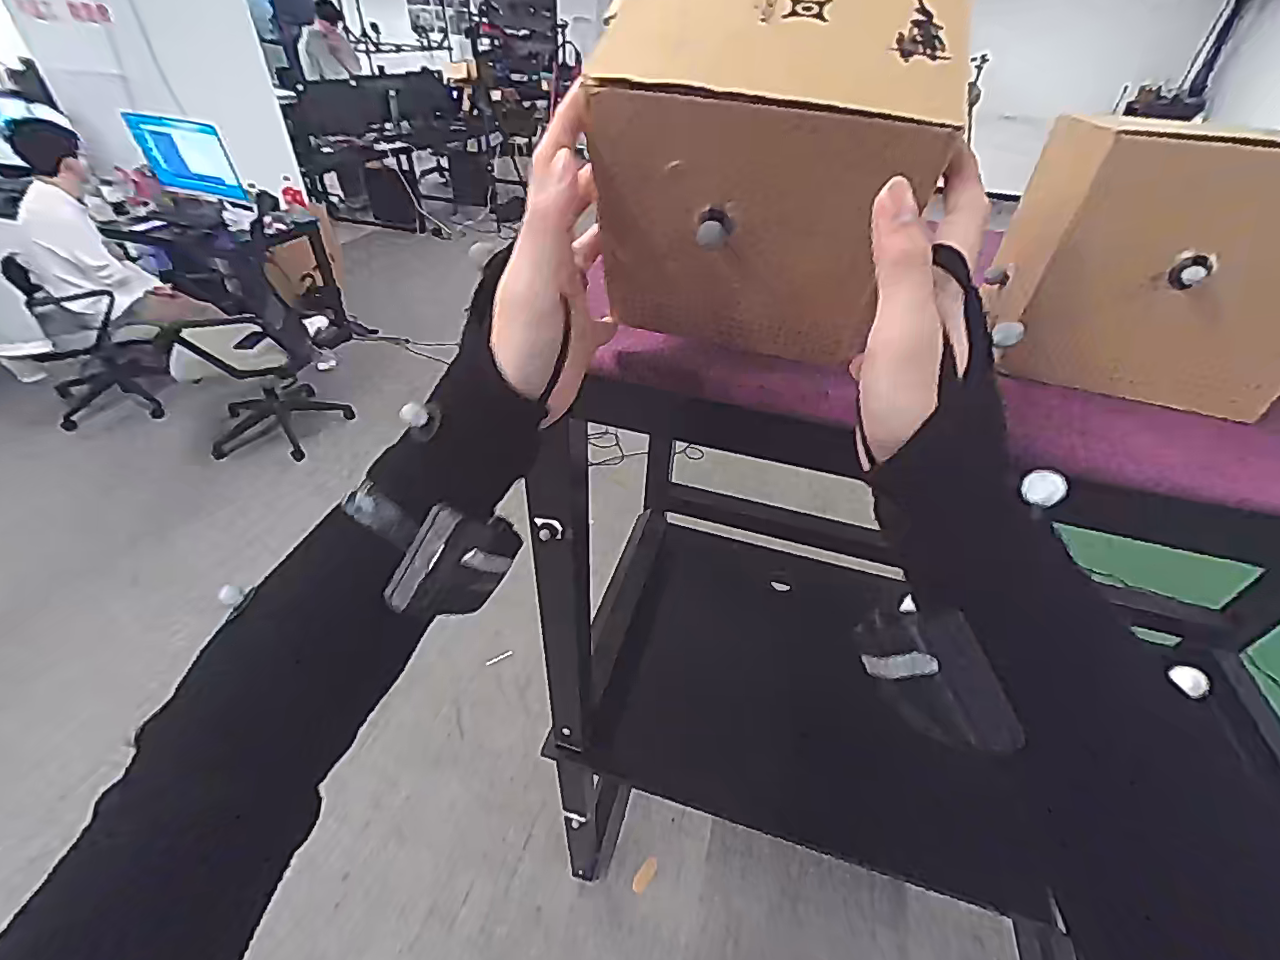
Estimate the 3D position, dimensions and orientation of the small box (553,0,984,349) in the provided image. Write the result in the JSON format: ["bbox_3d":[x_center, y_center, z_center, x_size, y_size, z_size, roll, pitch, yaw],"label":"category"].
[{"bbox_3d":[0.072,-0.201,0.321,0.179,0.176,0.168,15,68,9],"label":"small box"}]

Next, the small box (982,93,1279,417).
[{"bbox_3d":[0.388,-0.166,0.397,0.179,0.176,0.168,18,41,15],"label":"small box"}]
